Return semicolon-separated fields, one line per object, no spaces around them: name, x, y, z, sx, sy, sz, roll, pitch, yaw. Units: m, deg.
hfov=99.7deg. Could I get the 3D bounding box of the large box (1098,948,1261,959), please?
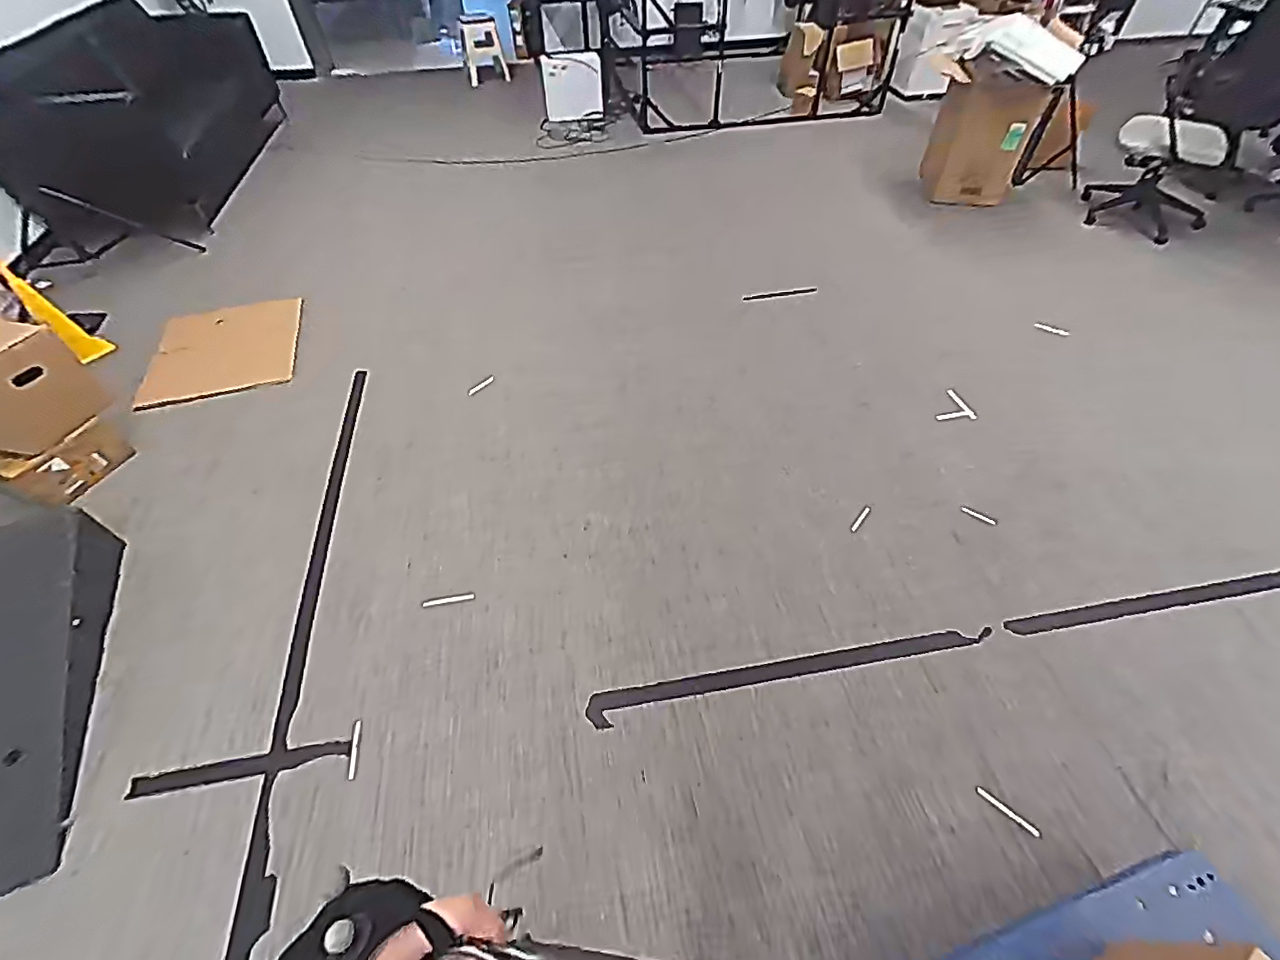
large box;0.823;0.931;0.698;0.320;0.320;0.408;-27;55;-20
